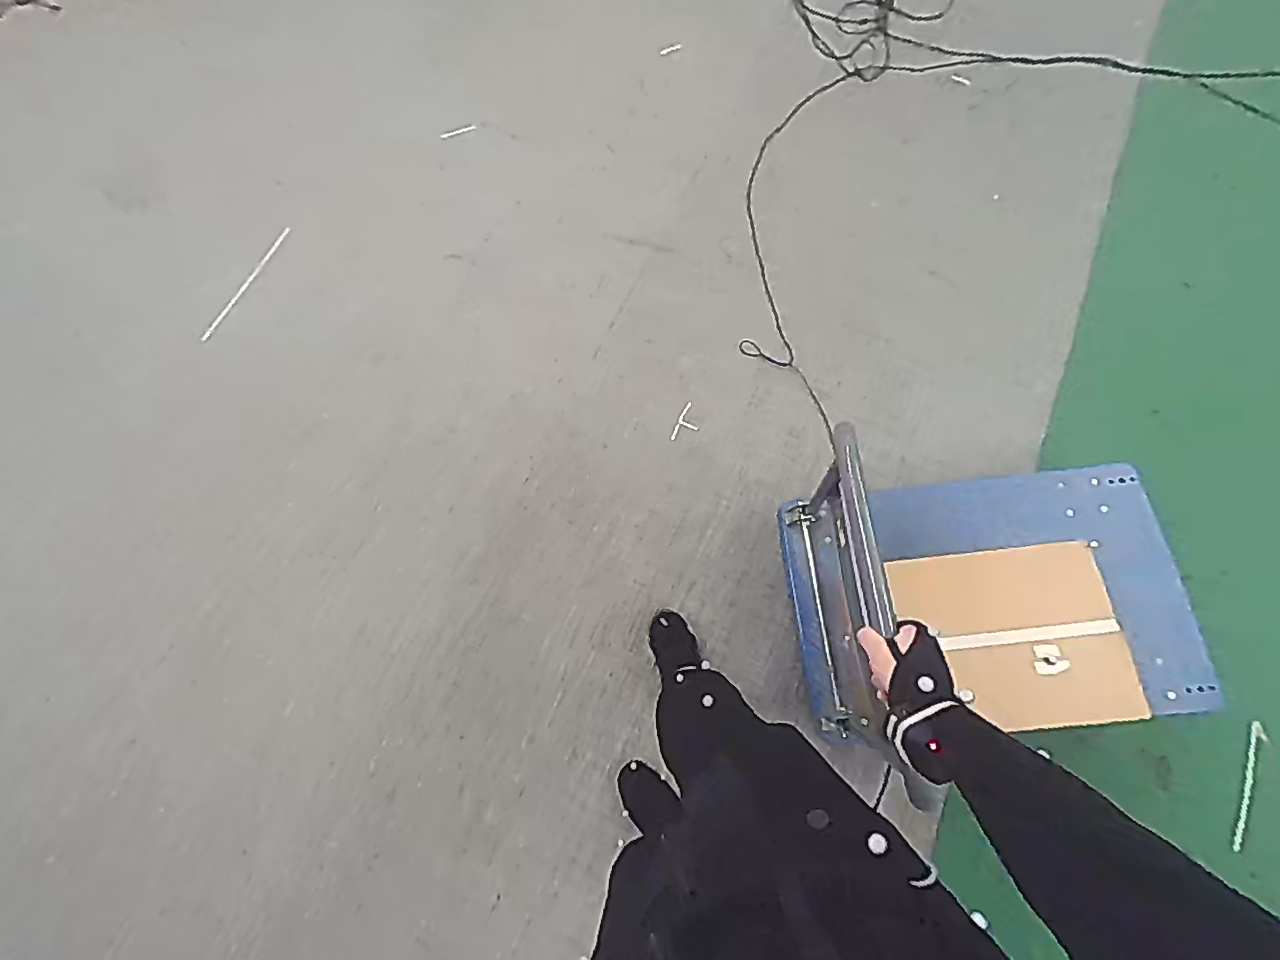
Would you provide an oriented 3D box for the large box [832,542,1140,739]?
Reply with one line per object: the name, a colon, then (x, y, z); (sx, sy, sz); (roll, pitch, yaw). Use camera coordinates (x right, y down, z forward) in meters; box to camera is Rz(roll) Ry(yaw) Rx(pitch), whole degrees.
large box: (0.666, 0.332, 1.130); (0.408, 0.320, 0.320); (-7, 73, 3)
